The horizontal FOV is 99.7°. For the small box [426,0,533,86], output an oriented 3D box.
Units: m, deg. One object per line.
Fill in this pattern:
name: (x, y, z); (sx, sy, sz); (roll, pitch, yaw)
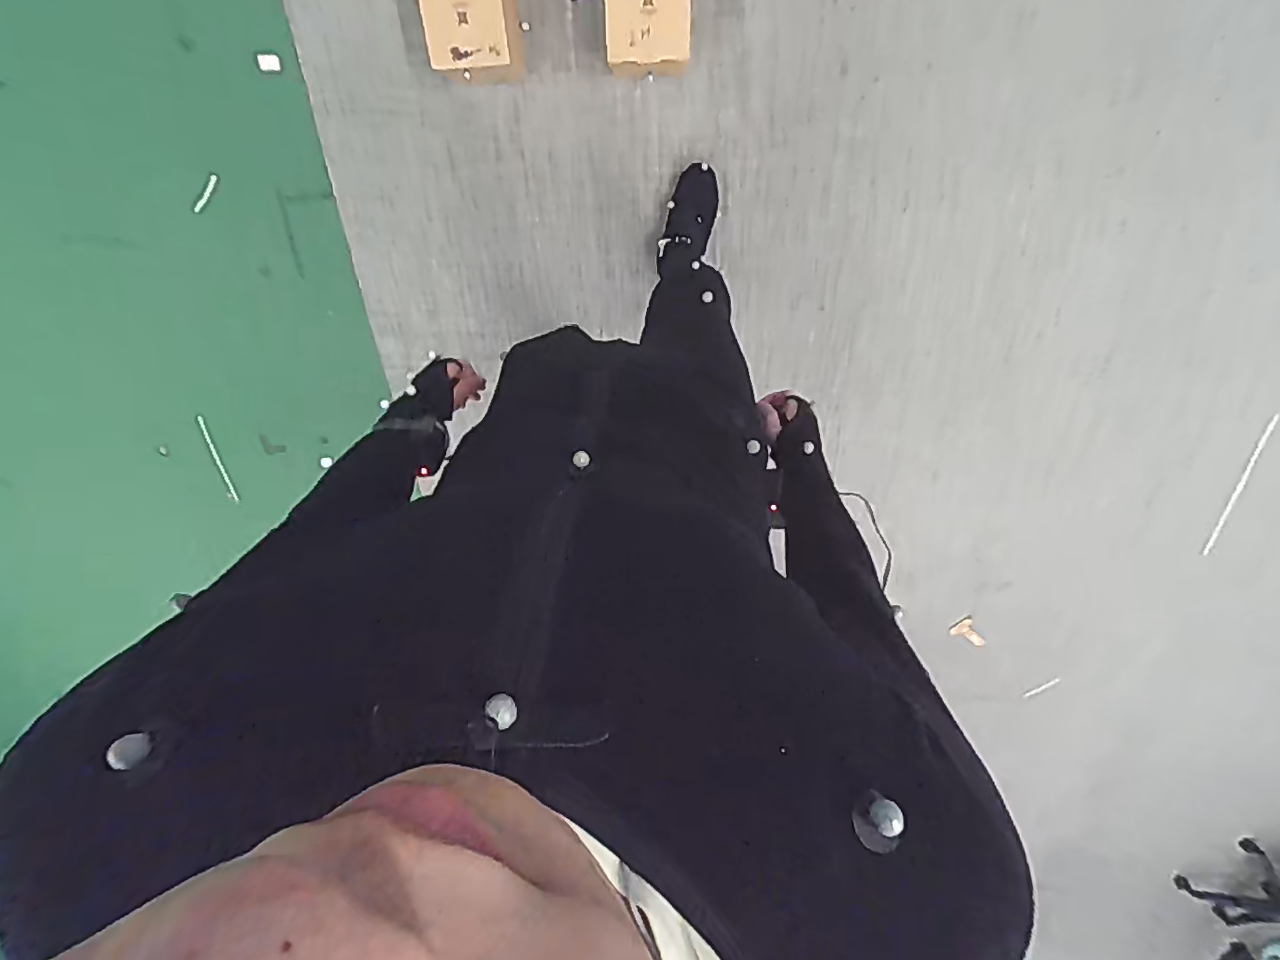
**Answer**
small box: (-0.331, -0.949, 1.130); (0.168, 0.176, 0.179); (0, 118, 5)

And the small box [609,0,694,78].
small box: (0.026, -0.944, 1.102); (0.168, 0.176, 0.179); (1, 119, 5)
